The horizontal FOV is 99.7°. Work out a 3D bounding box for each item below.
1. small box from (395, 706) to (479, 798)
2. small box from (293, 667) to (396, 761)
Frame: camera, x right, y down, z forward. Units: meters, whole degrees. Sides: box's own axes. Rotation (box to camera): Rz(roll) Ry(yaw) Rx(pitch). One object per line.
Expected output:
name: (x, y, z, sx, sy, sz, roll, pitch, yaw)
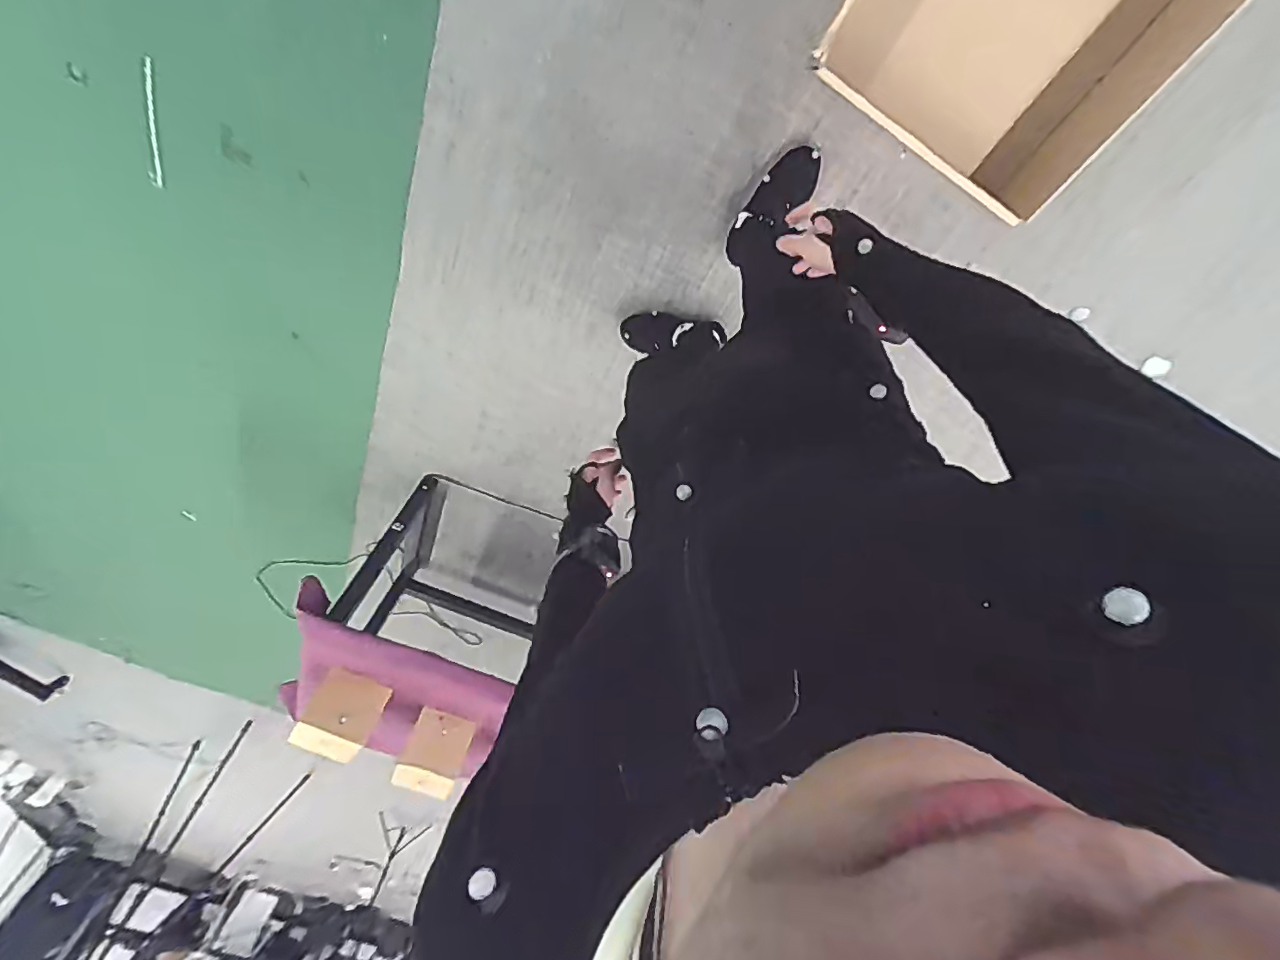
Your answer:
small box: (-0.594, 0.799, 1.594, 0.168, 0.176, 0.179, 24, 129, -9)
small box: (-0.826, 0.651, 1.519, 0.179, 0.176, 0.168, 32, 127, -16)
